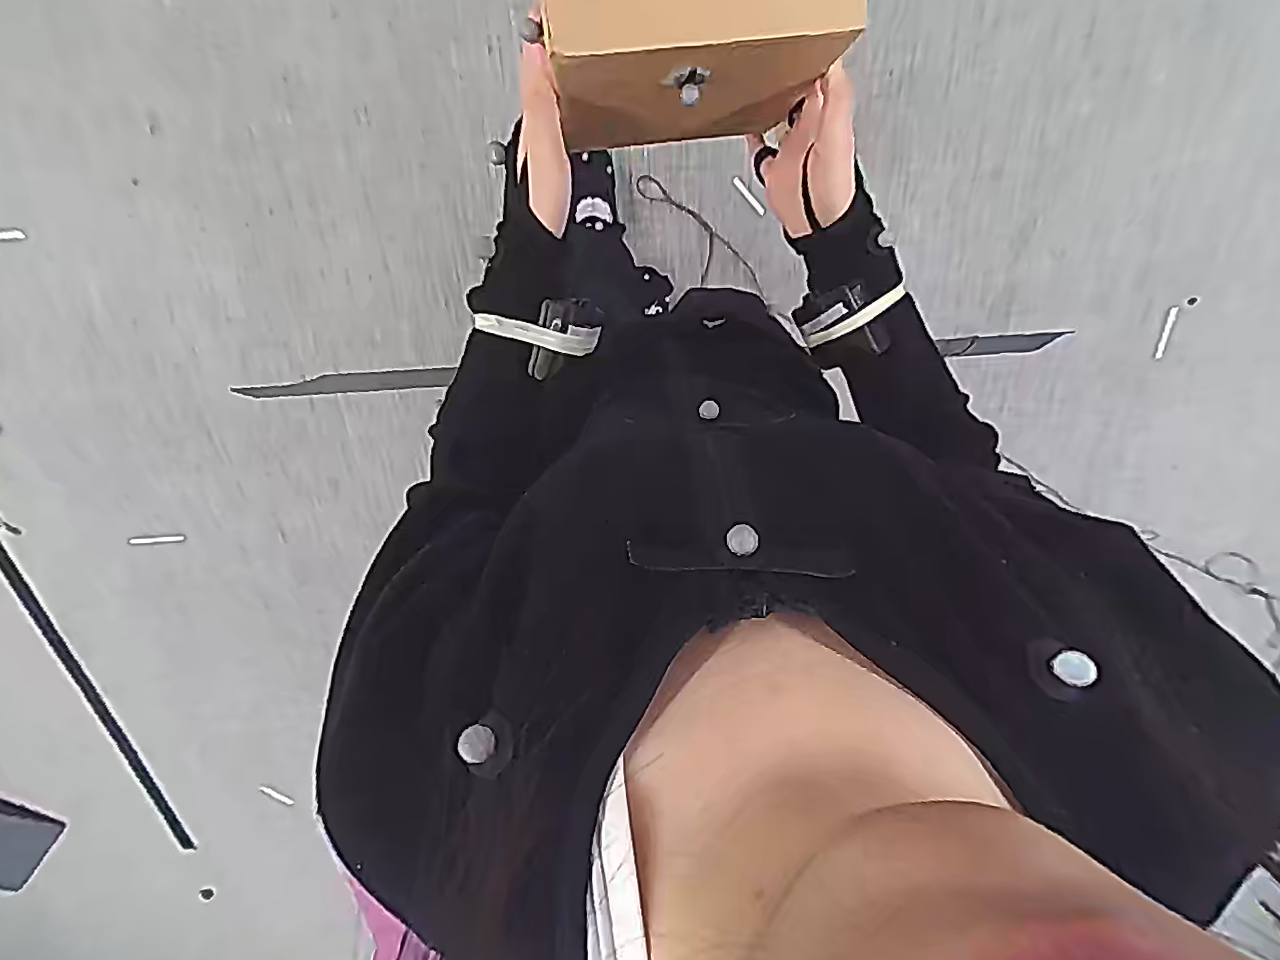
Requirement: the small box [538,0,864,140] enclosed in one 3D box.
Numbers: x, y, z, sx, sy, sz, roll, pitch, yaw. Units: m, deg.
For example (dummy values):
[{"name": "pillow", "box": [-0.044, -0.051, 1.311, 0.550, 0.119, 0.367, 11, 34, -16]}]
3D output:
[{"name": "small box", "box": [0.020, -0.338, 0.344, 0.179, 0.176, 0.168, -8, 107, -4]}]
